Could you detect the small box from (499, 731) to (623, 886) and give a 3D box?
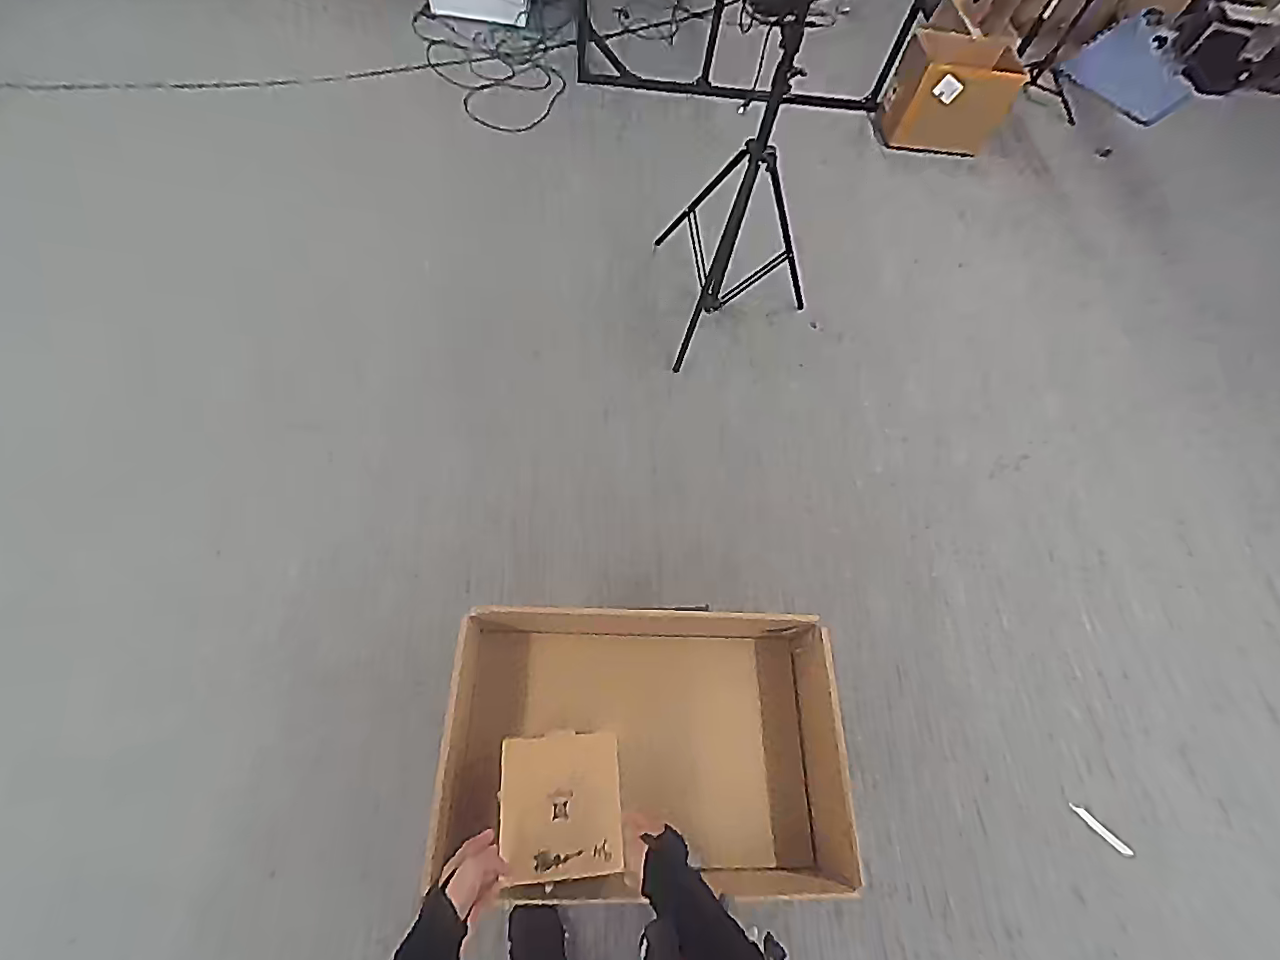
[{"bbox_3d":[-0.117,0.487,0.819,0.168,0.176,0.179,-1,63,-7],"label":"small box"}]
